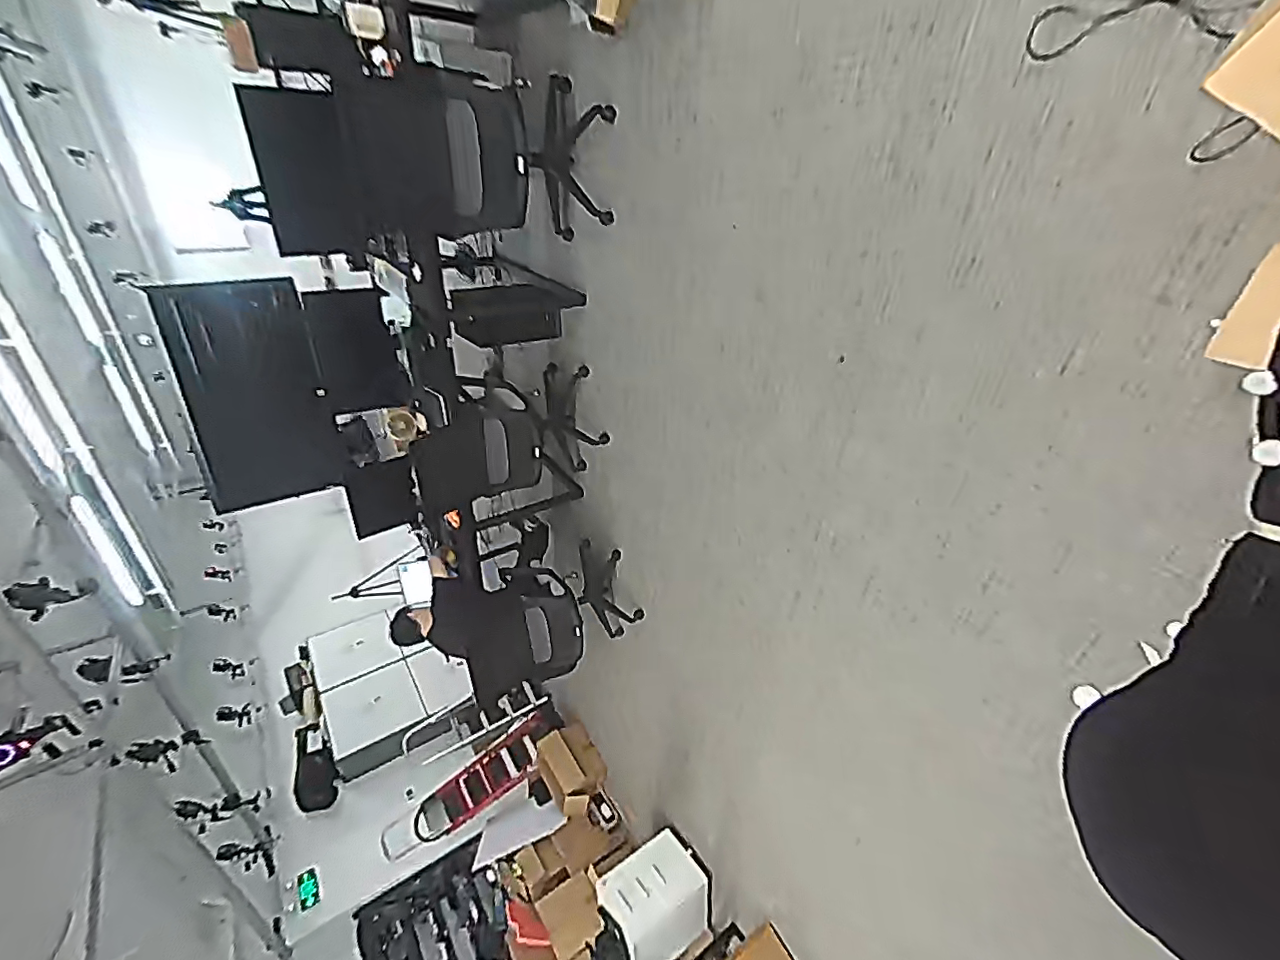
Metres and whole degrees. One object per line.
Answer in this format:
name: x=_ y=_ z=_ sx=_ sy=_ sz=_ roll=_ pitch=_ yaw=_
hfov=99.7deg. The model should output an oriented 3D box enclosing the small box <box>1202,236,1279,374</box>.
small box: x=1.008 y=-0.258 z=0.798 sx=0.168 sy=0.176 sz=0.179 roll=39 pitch=138 yaw=41
